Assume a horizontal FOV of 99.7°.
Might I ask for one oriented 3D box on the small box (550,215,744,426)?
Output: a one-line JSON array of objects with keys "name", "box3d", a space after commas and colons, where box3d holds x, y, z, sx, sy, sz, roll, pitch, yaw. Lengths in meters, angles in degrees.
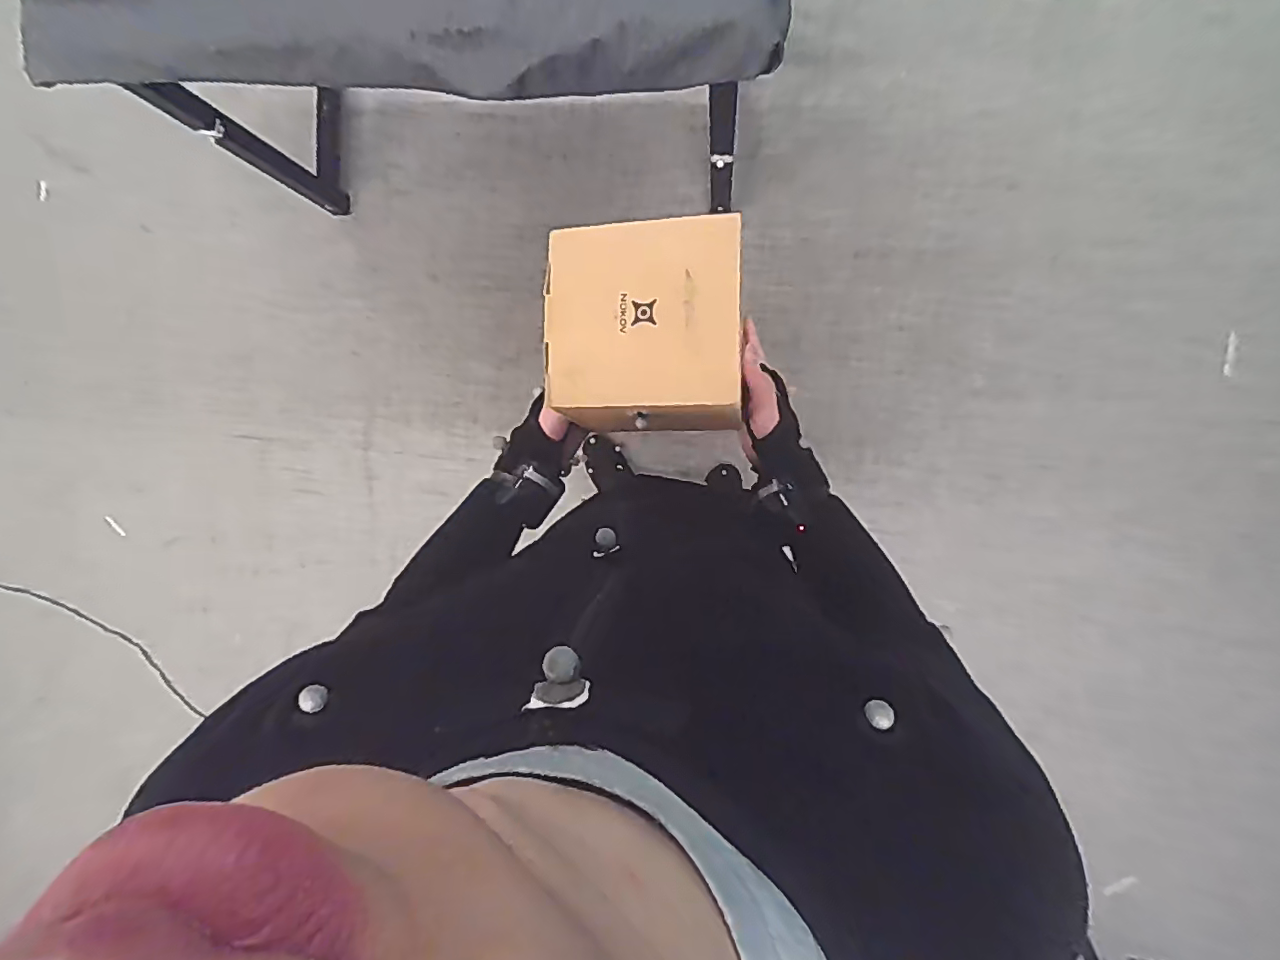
[{"name": "small box", "box3d": [0.018, -0.148, 0.564, 0.179, 0.176, 0.168, 0, 89, 11]}]
